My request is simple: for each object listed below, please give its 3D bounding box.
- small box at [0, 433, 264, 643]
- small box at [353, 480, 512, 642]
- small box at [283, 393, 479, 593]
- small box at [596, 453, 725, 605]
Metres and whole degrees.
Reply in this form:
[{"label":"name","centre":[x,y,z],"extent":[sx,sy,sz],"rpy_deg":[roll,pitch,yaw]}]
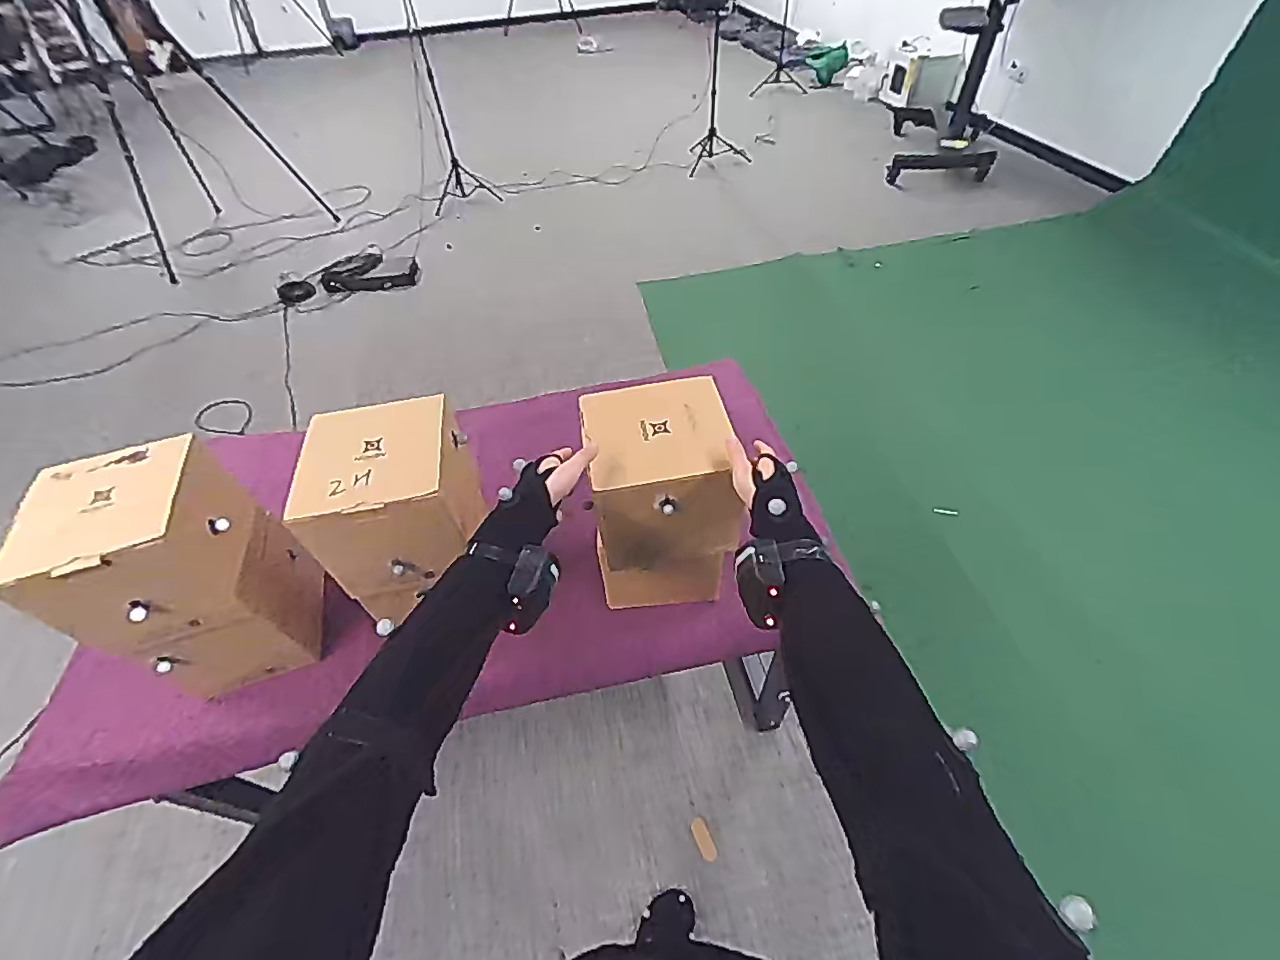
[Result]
[{"label":"small box","centre":[-0.593,0.077,0.657],"extent":[0.168,0.176,0.179],"rpy_deg":[-17,51,-11]},{"label":"small box","centre":[-0.308,0.121,0.820],"extent":[0.179,0.176,0.168],"rpy_deg":[-16,50,-11]},{"label":"small box","centre":[-0.310,0.018,0.691],"extent":[0.168,0.176,0.179],"rpy_deg":[-11,50,-6]},{"label":"small box","centre":[0.029,0.078,0.835],"extent":[0.179,0.176,0.168],"rpy_deg":[-5,48,1]}]
